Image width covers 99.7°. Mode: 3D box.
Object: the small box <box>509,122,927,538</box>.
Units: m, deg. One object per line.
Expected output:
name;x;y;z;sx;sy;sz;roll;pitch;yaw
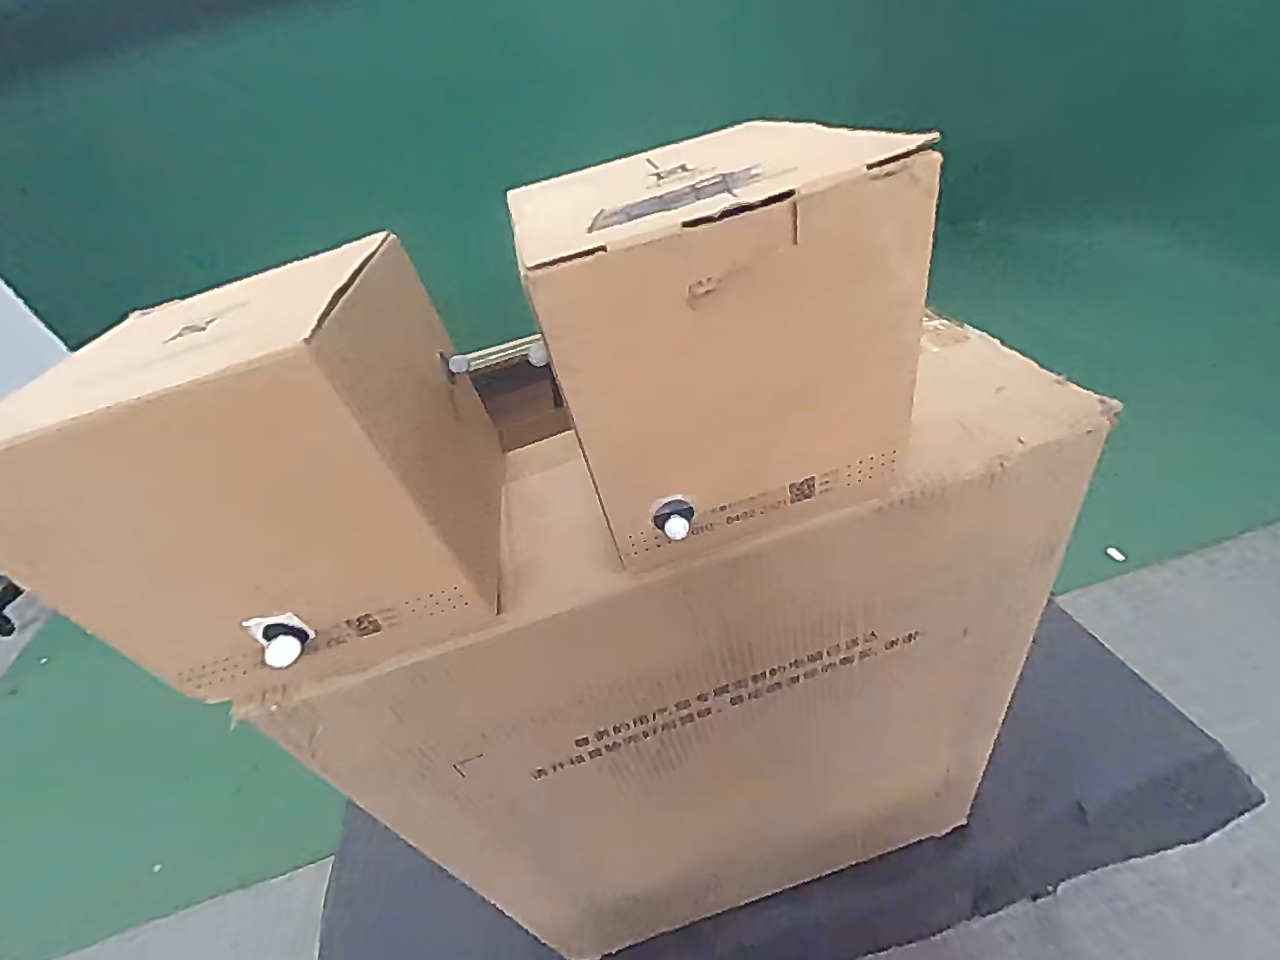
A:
small box;0.034;-0.086;0.317;0.168;0.176;0.179;-18;37;-4

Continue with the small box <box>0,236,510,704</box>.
small box;-0.184;-0.011;0.308;0.168;0.176;0.179;-20;39;0
